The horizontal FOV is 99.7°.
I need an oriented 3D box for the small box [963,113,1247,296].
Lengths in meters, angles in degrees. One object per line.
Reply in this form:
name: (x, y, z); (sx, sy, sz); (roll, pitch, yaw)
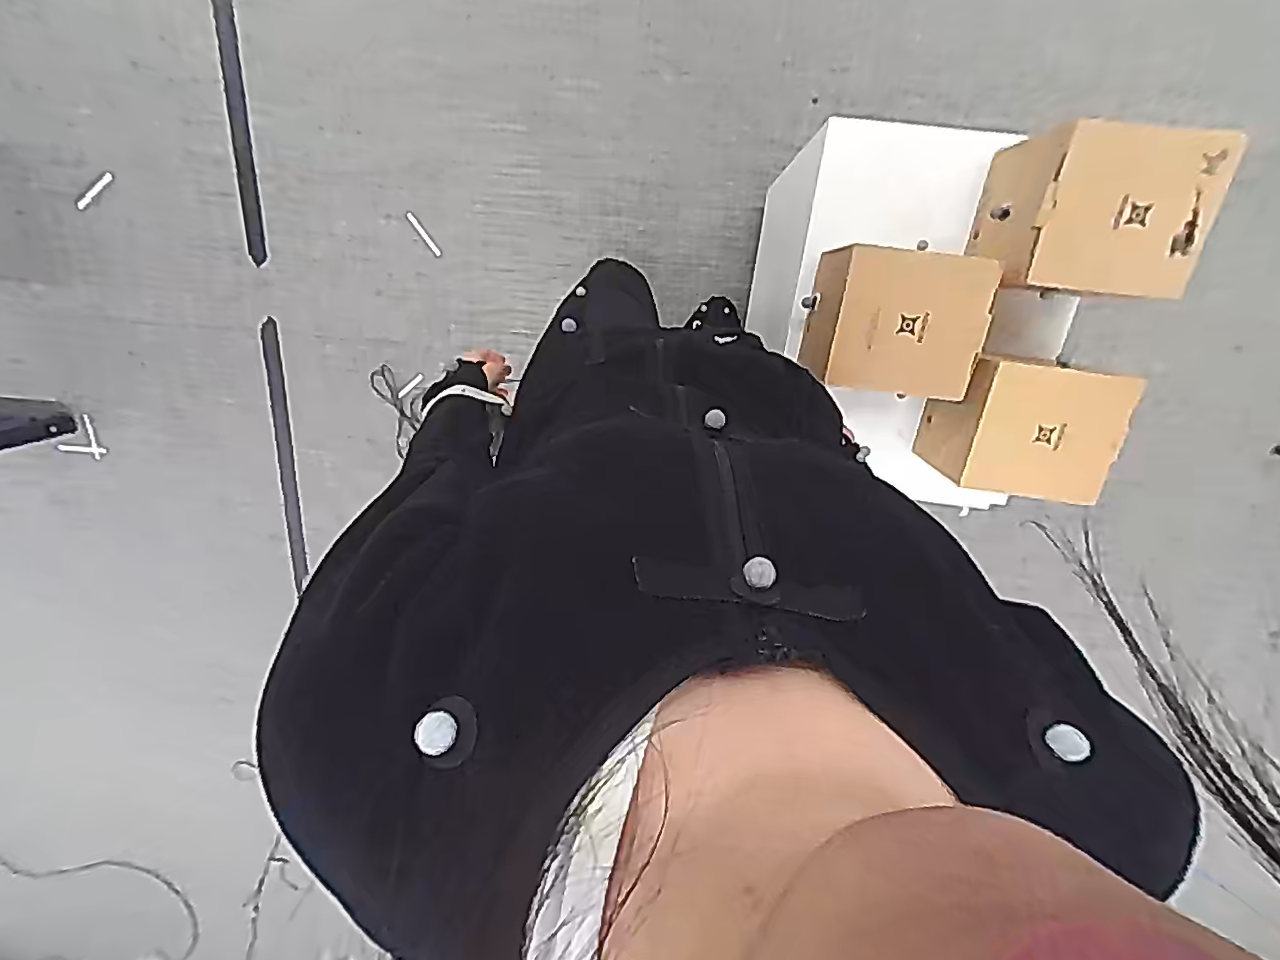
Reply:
small box: (0.535, -0.322, 0.659); (0.179, 0.176, 0.168); (8, 112, 3)

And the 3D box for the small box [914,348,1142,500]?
small box: (0.511, -0.086, 0.748); (0.179, 0.176, 0.168); (7, 110, 2)
